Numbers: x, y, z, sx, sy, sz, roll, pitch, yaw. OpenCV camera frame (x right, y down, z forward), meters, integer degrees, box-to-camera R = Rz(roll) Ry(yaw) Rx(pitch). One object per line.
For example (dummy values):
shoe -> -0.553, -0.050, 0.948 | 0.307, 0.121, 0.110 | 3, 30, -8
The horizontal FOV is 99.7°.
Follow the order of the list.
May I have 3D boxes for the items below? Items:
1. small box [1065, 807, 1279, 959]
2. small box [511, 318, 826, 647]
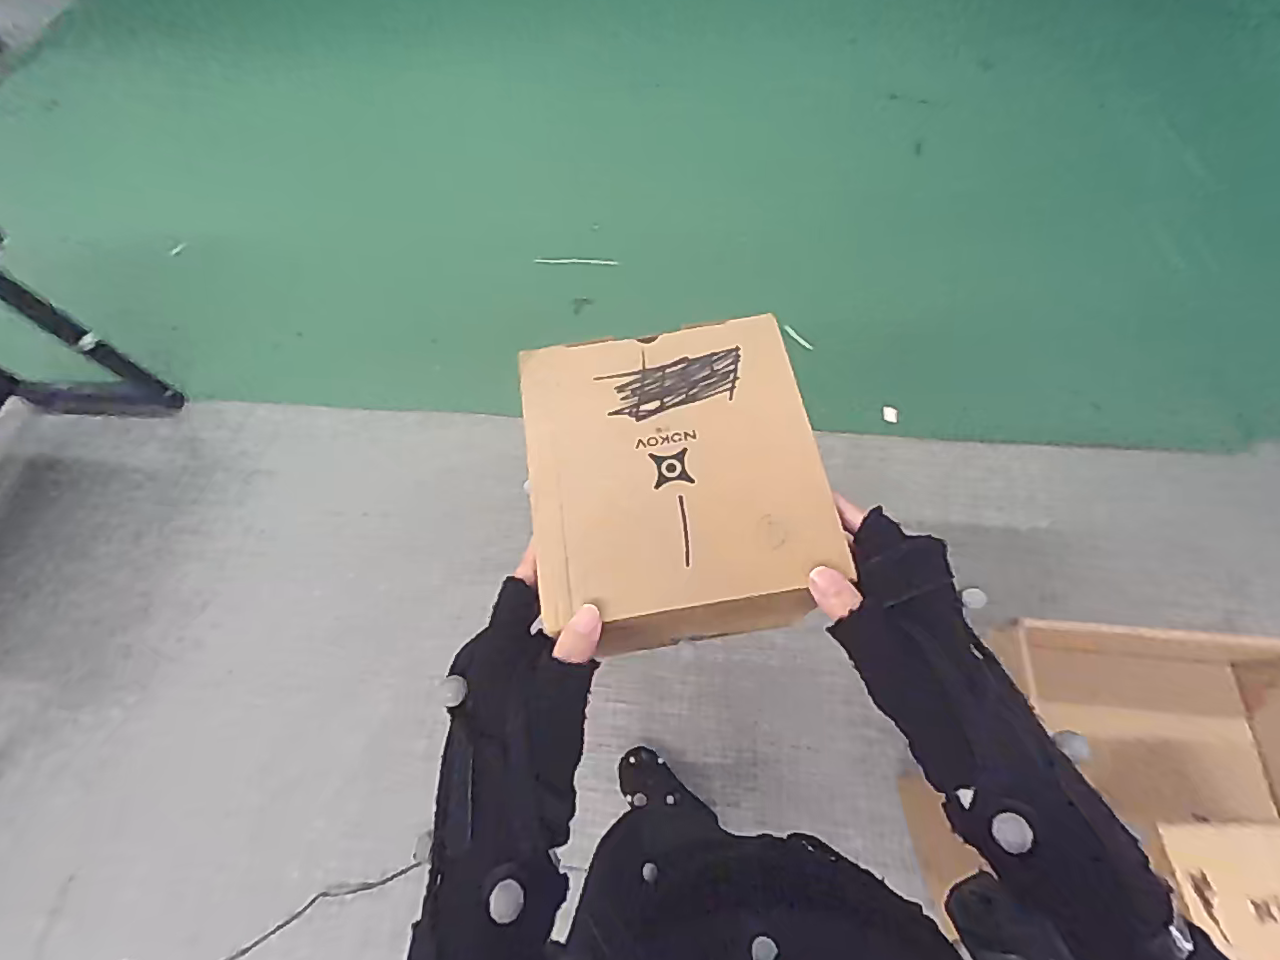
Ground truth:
small box -> 0.698, 0.512, 0.677 | 0.179, 0.176, 0.168 | -2, 62, 3
small box -> 0.011, 0.014, 0.393 | 0.168, 0.176, 0.179 | -9, 68, -1
